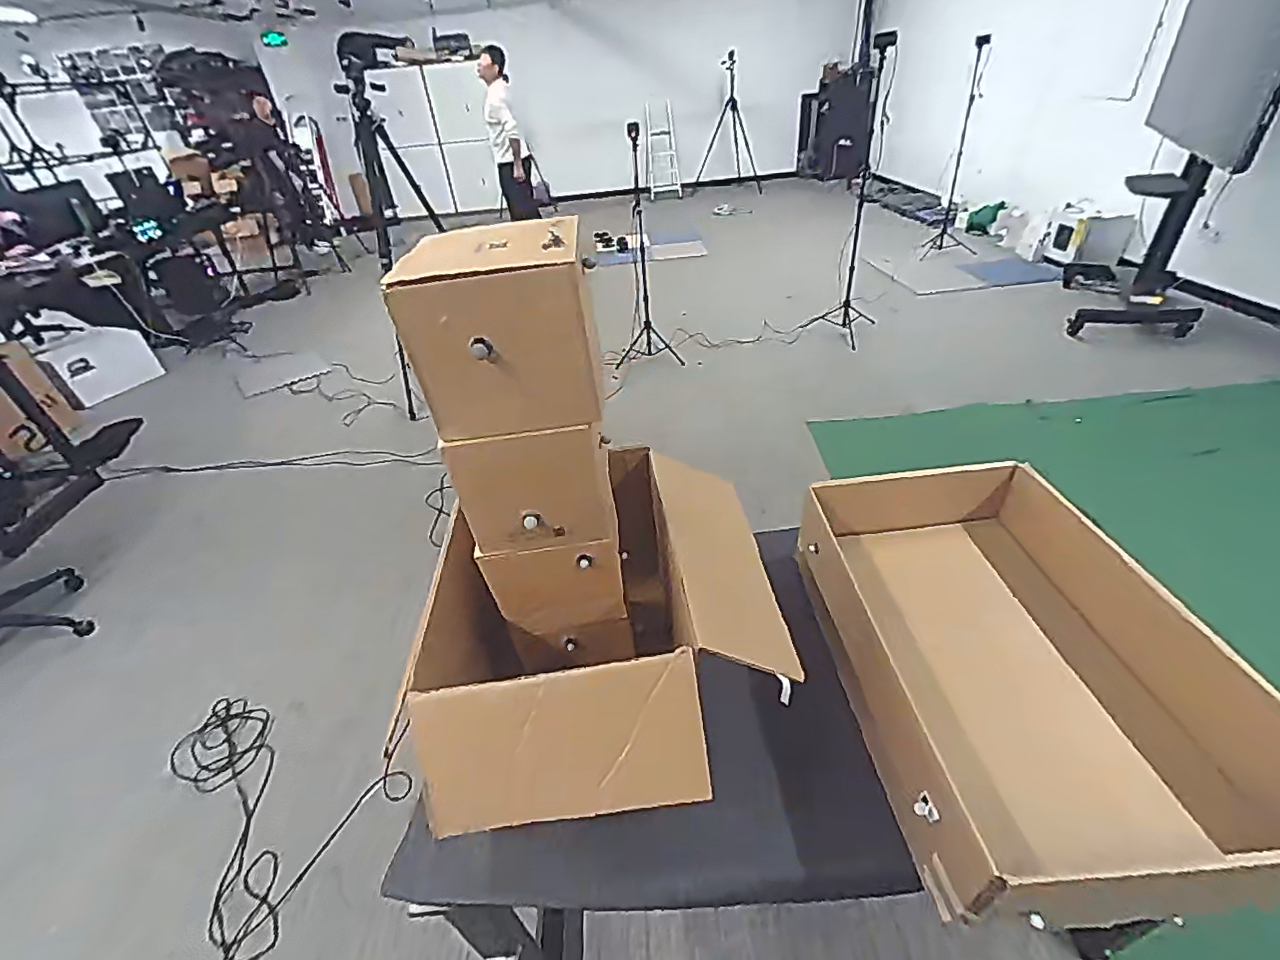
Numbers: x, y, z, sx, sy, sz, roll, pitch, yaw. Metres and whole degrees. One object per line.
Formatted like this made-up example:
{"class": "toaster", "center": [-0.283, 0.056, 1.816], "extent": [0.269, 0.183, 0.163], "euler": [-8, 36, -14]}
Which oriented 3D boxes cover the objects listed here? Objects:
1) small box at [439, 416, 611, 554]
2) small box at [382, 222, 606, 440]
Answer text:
{"class": "small box", "center": [-0.130, -0.030, 0.685], "extent": [0.168, 0.176, 0.179], "euler": [-7, 40, 1]}
{"class": "small box", "center": [-0.137, -0.158, 0.582], "extent": [0.179, 0.176, 0.168], "euler": [-8, 39, 1]}
